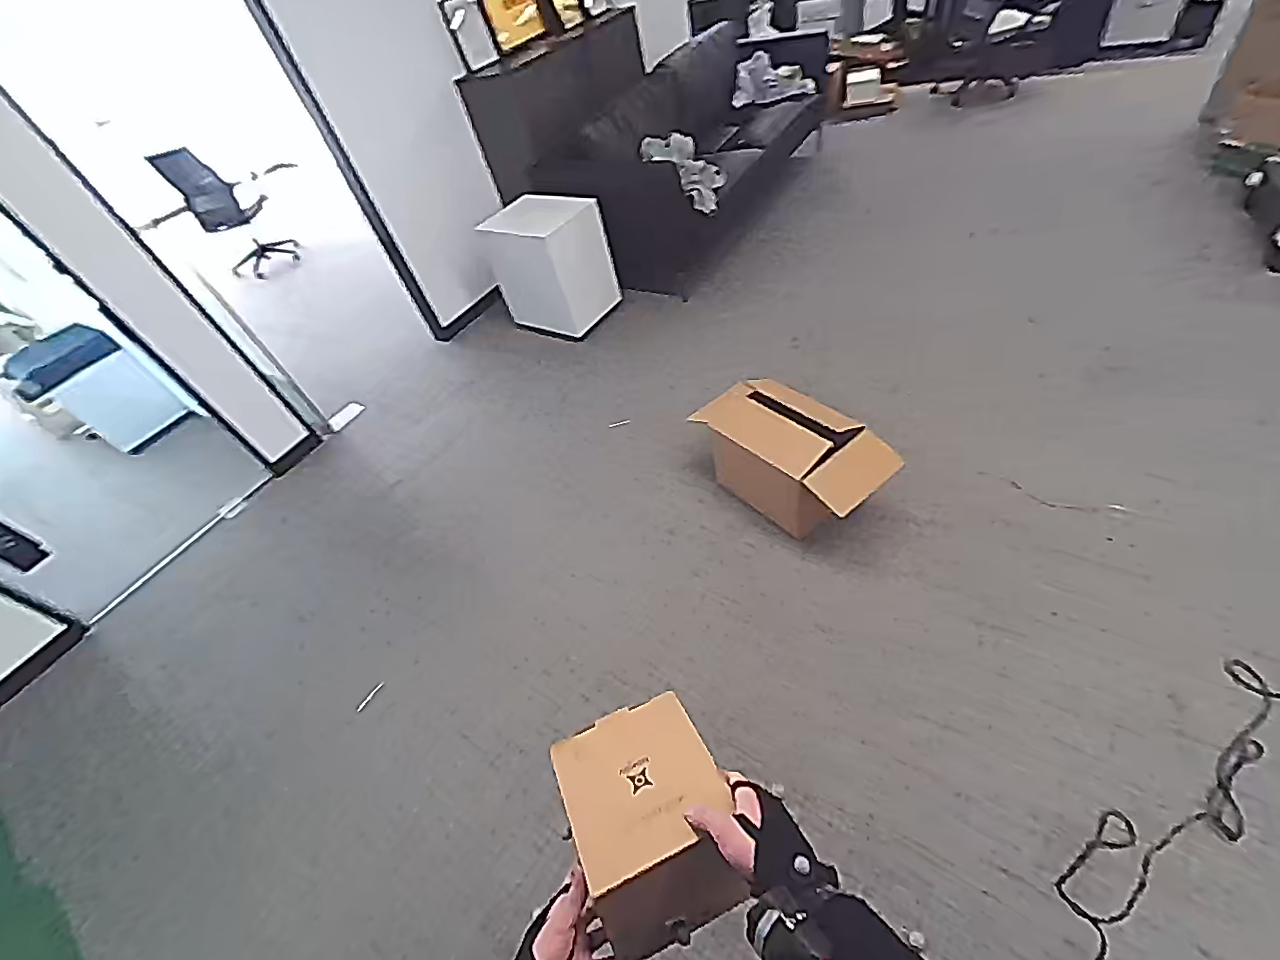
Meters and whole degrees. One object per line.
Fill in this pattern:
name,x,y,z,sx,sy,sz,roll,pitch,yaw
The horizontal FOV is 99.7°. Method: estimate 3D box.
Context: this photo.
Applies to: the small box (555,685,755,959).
small box,0.015,0.380,0.615,0.168,0.176,0.179,-19,29,-12
